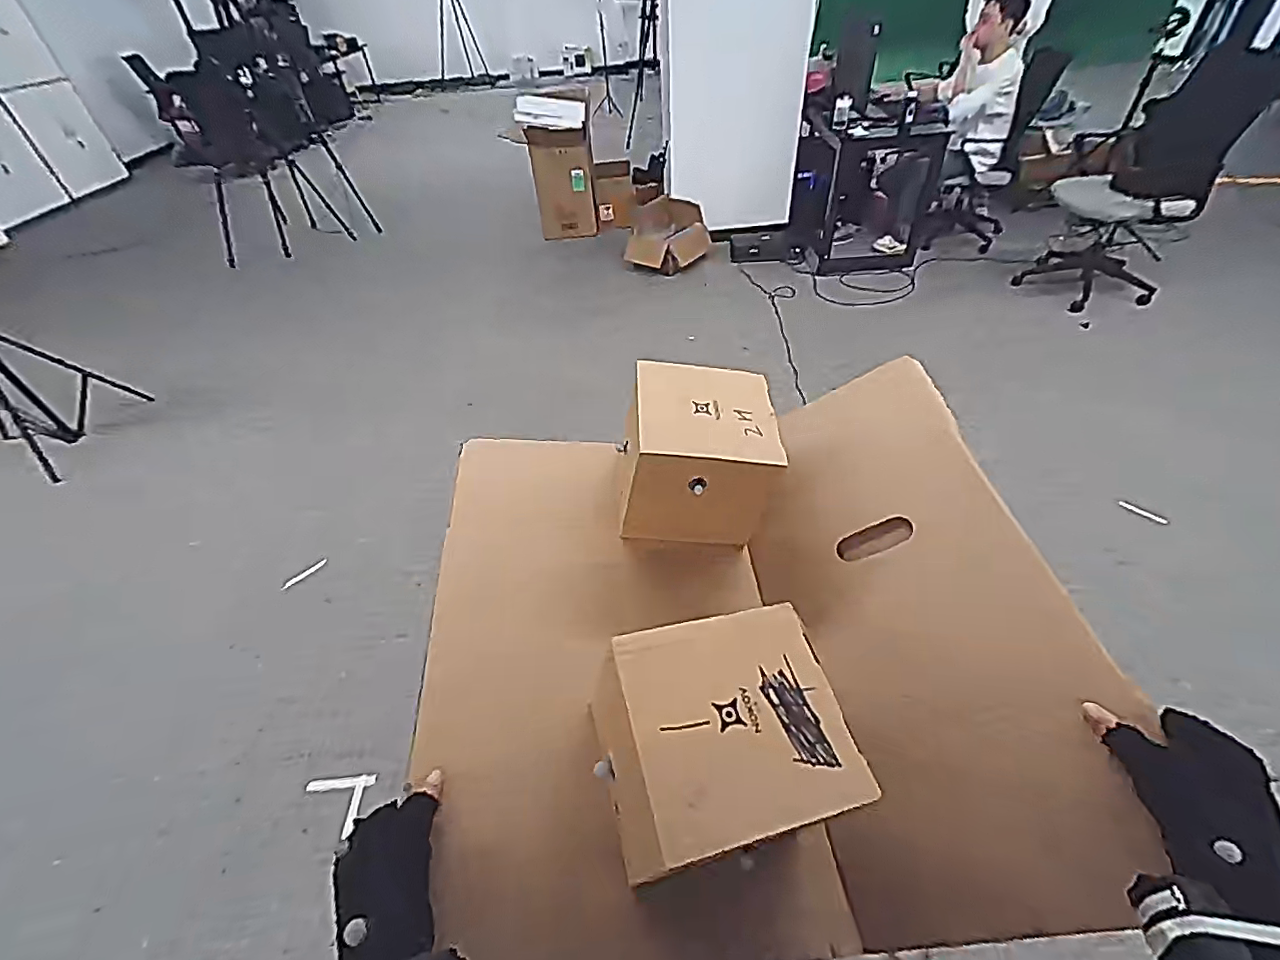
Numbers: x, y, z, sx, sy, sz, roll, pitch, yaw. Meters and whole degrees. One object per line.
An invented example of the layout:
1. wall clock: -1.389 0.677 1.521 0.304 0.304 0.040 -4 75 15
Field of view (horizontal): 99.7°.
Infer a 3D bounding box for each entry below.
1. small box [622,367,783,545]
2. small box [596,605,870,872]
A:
1. small box: 0.070 -0.027 0.729 0.179 0.176 0.168 6 49 -7
2. small box: 0.065 0.238 0.501 0.179 0.176 0.168 -6 52 -16
